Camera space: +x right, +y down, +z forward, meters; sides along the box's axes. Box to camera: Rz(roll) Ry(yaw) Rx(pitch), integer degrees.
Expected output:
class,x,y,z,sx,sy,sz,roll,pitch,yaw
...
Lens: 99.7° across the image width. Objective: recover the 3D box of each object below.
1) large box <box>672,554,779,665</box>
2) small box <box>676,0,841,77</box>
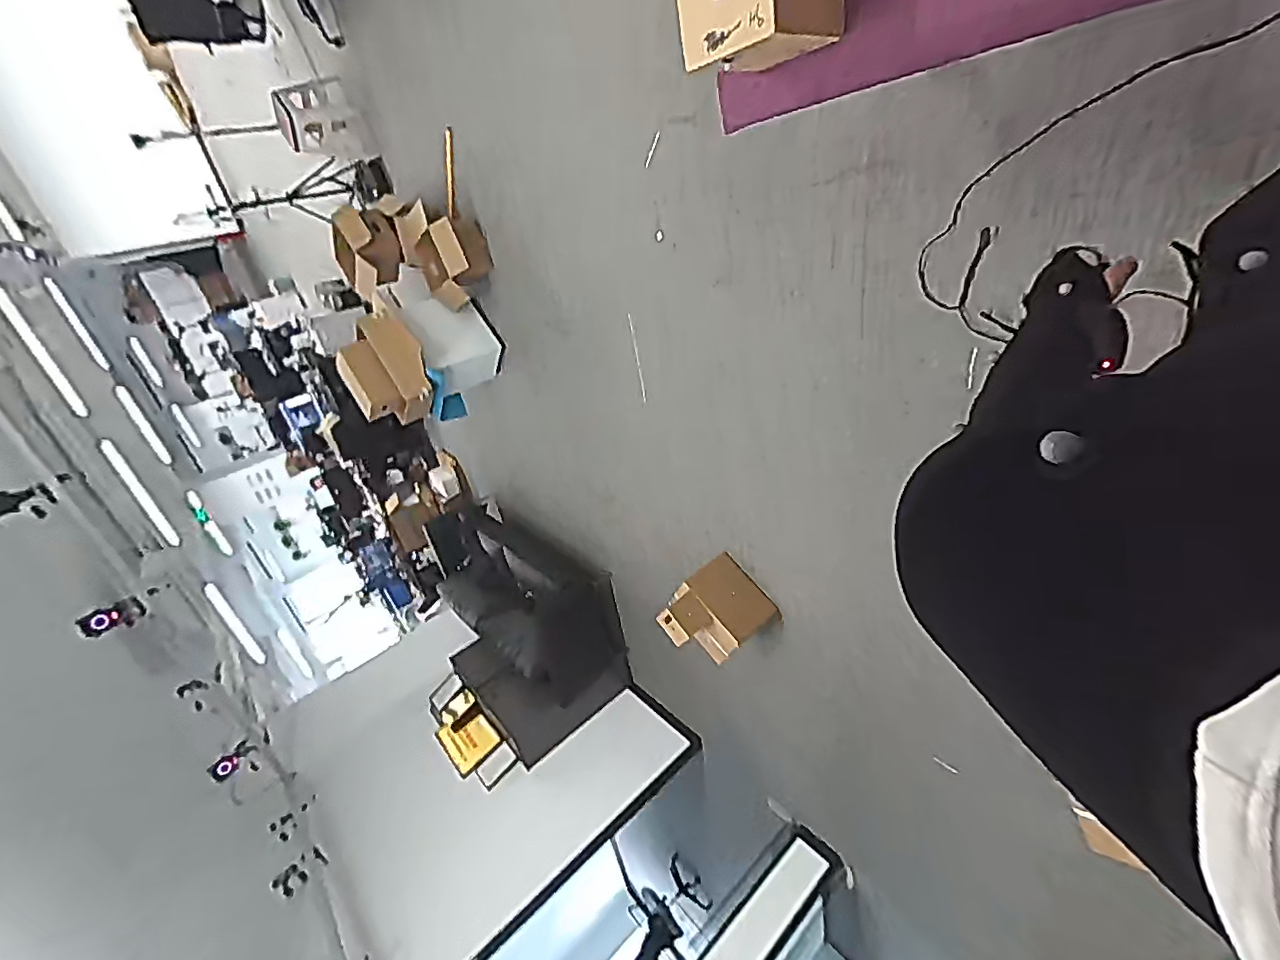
class,x,y,z,sx,sy,sz,roll,pitch,yaw
large box,0.437,0.670,2.817,0.408,0.320,0.320,46,148,20
small box,0.168,-0.695,0.763,0.168,0.176,0.179,22,130,47
